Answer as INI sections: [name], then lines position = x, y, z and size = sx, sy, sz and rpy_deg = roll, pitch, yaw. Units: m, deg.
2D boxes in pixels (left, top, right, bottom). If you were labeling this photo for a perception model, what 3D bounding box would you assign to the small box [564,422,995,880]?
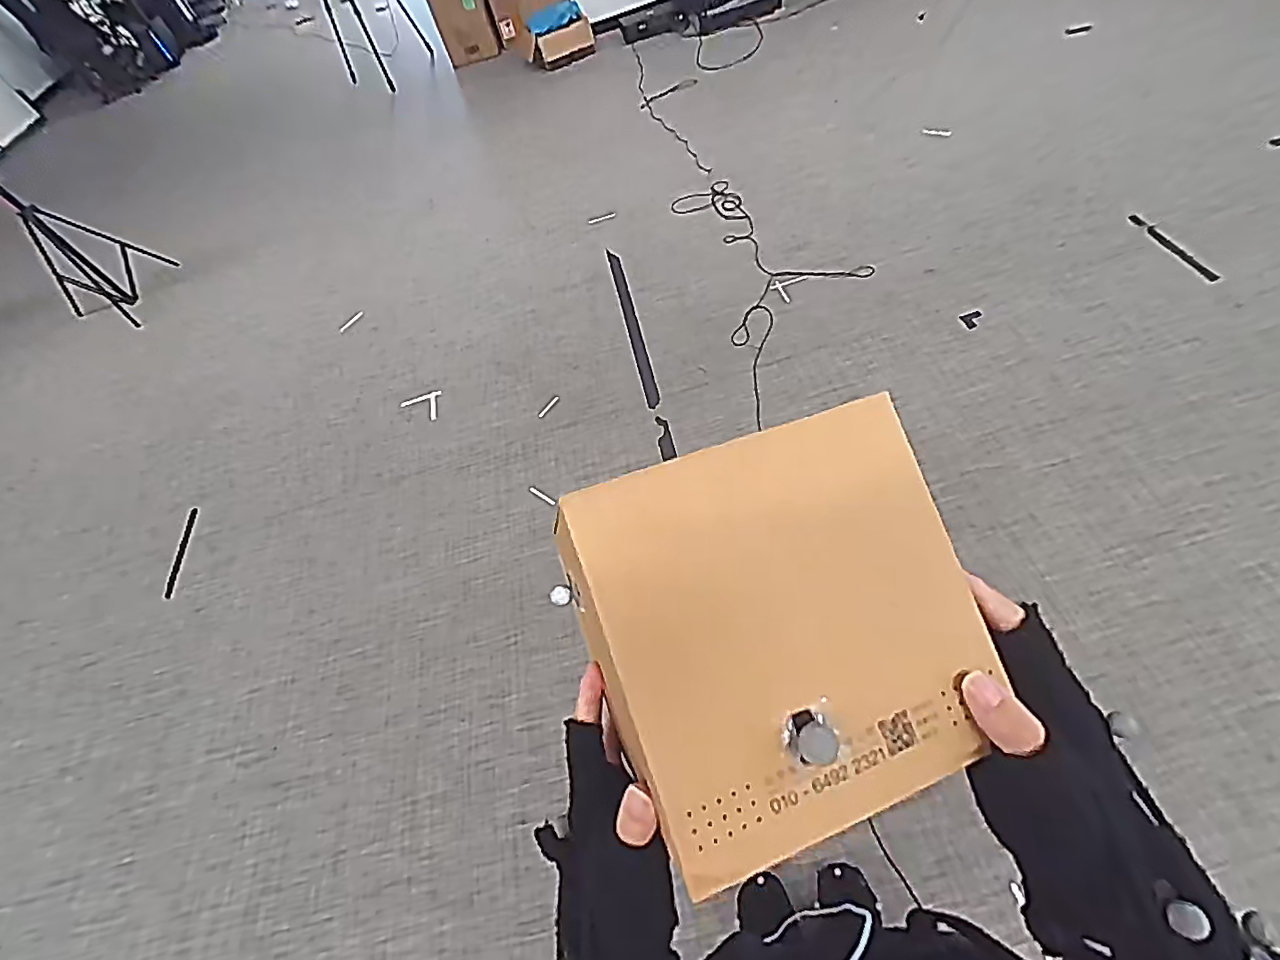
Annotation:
[small box]
position = 0.057, 0.087, 0.327
size = 0.168, 0.179, 0.176
rpy_deg = -19, 83, -12
